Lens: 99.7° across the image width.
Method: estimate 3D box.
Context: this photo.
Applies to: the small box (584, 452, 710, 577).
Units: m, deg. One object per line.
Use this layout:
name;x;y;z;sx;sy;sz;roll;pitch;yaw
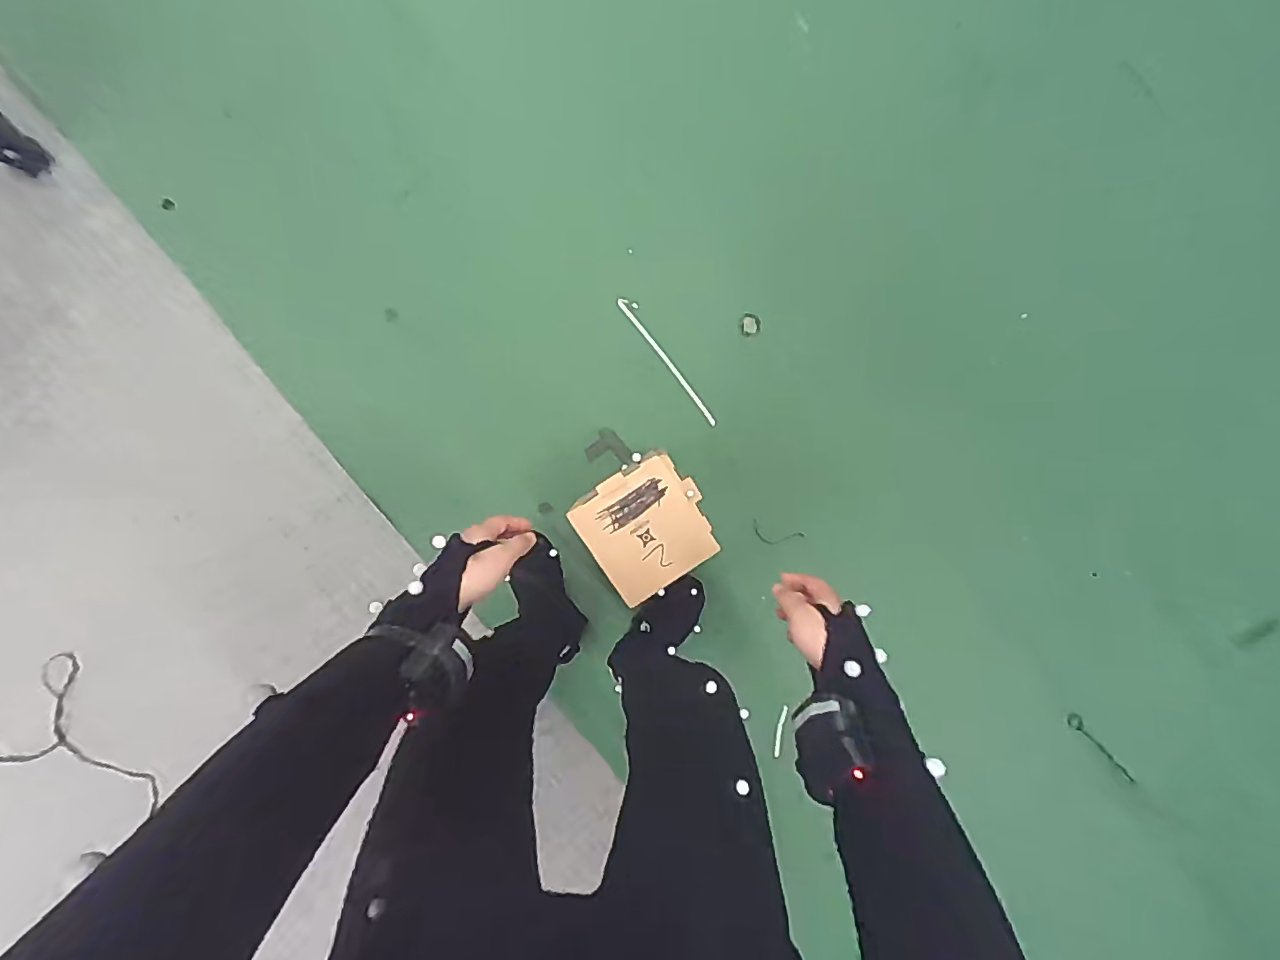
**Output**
small box;0.014;0.059;1.041;0.179;0.176;0.168;-31;95;3
